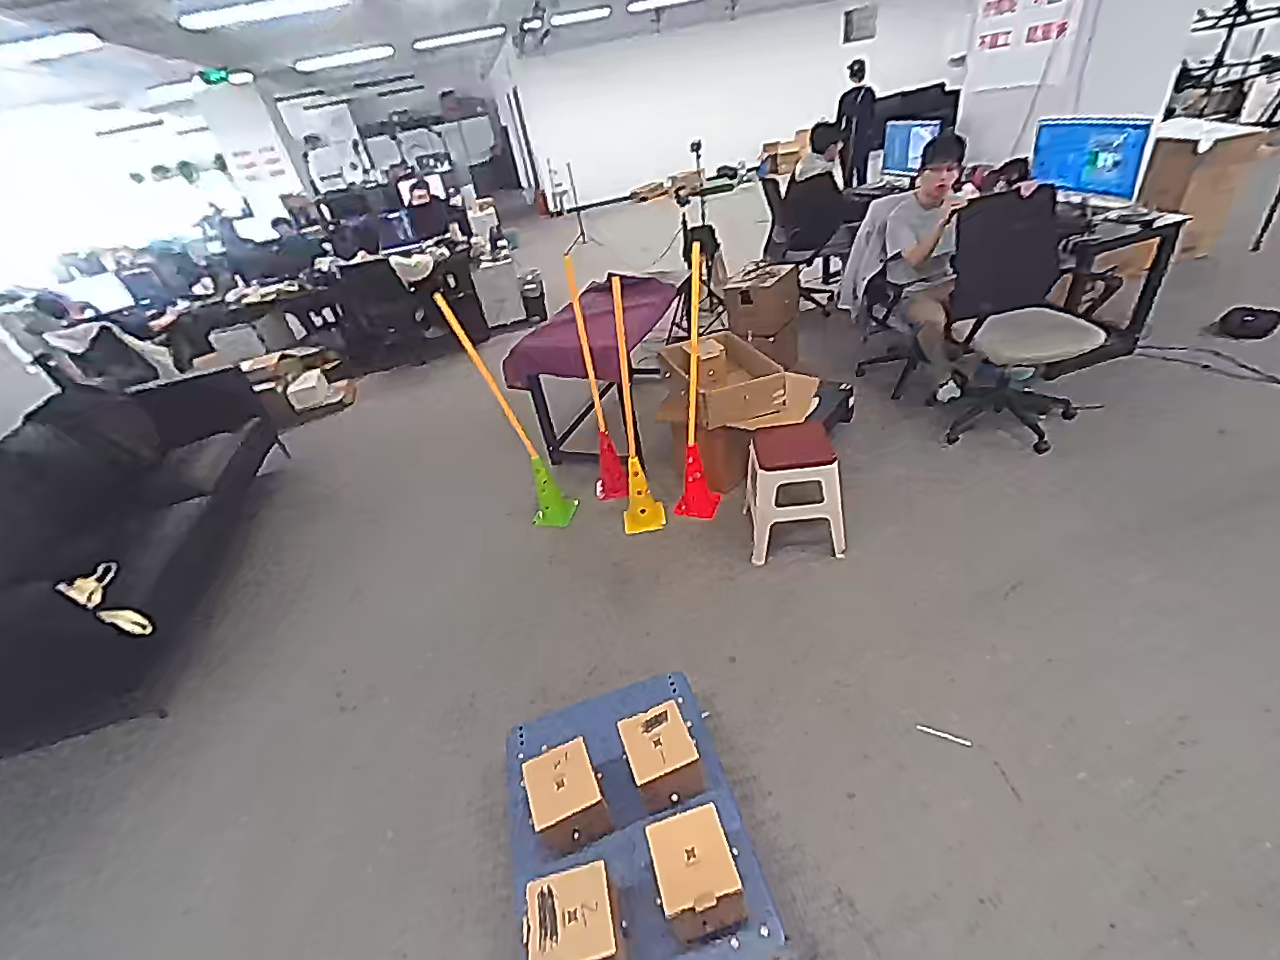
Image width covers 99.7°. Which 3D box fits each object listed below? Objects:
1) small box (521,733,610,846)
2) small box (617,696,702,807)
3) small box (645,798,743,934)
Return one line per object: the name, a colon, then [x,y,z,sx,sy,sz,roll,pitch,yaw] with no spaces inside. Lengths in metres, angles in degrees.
small box: [-0.188,0.792,1.375,0.168,0.176,0.179,-20,37,-12]
small box: [0.051,0.711,1.418,0.168,0.176,0.179,-19,37,-9]
small box: [0.119,0.857,1.203,0.168,0.176,0.179,-16,36,-6]
